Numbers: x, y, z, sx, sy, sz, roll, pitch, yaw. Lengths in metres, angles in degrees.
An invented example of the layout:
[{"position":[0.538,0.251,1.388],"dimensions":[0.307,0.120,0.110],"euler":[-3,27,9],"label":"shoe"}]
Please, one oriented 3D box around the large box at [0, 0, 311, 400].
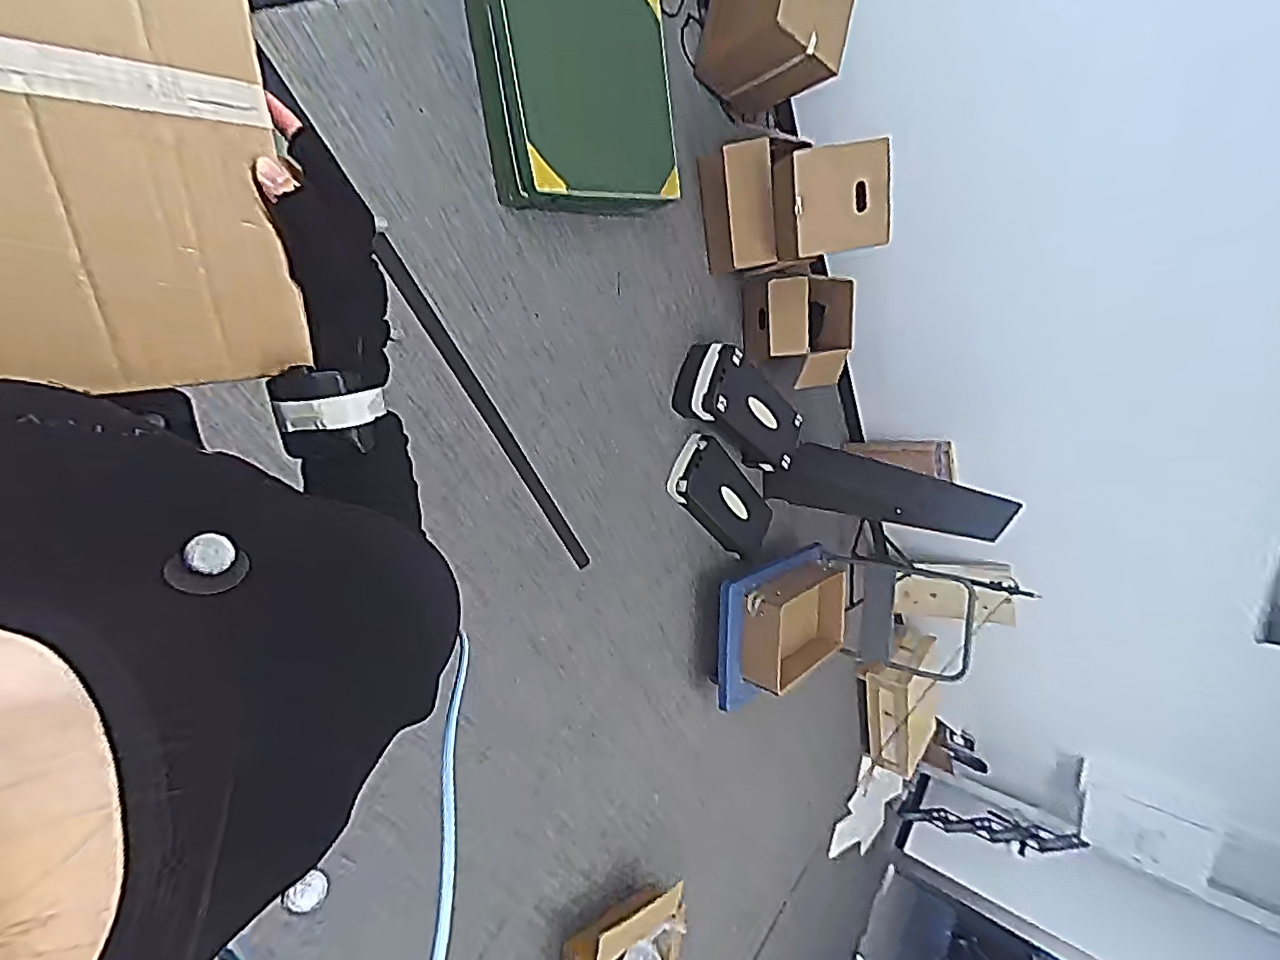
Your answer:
[{"position":[-0.476,-0.225,0.300],"dimensions":[0.408,0.320,0.320],"euler":[-19,126,-40],"label":"large box"}]
